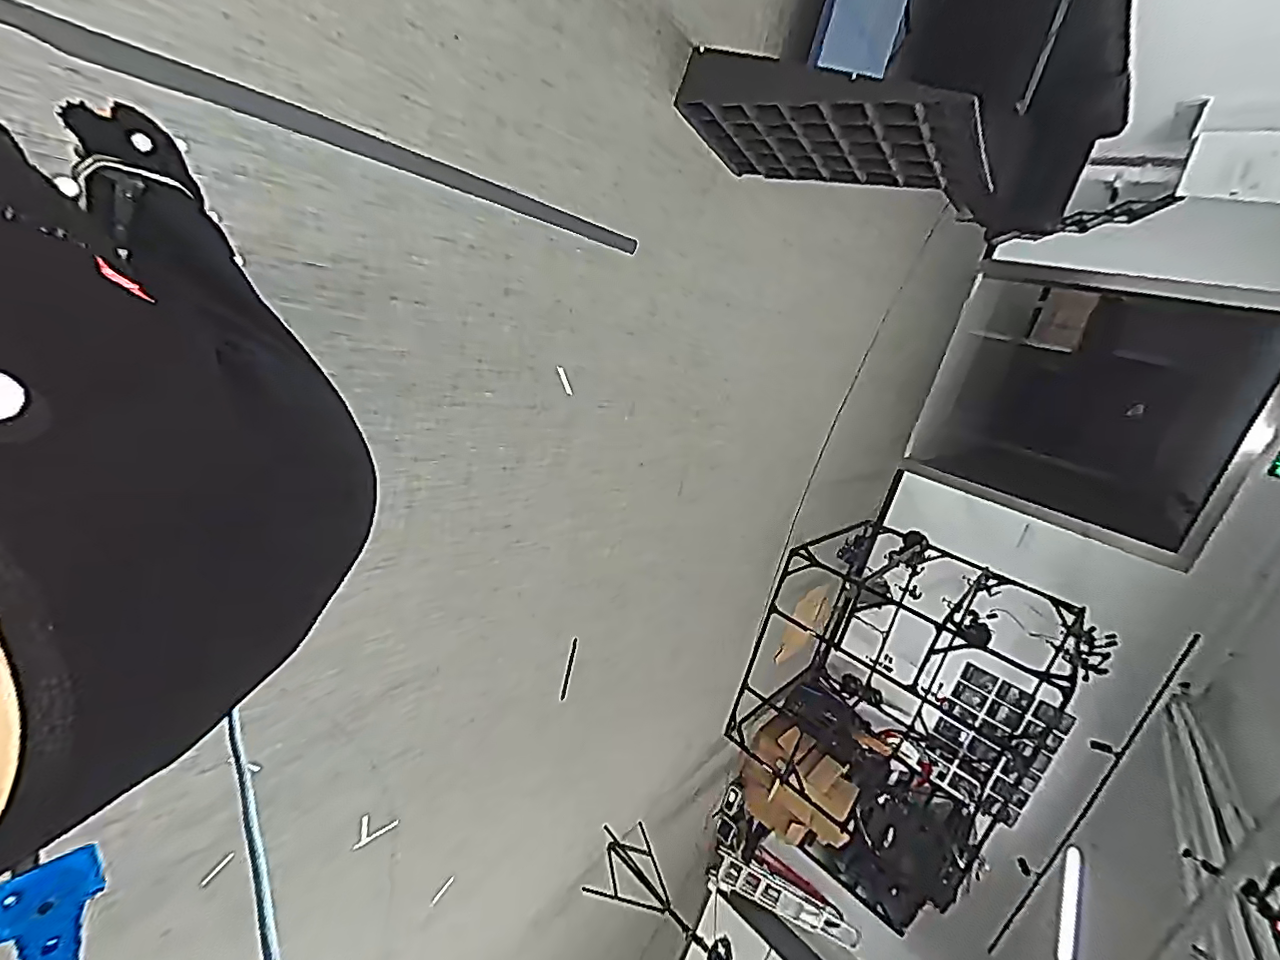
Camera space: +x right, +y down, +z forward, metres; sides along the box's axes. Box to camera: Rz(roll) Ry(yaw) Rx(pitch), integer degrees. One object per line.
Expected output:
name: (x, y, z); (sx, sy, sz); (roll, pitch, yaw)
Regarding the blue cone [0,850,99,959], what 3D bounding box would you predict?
blue cone: (-1.386, 1.109, 1.270); (0.192, 0.380, 0.193); (-12, 122, -49)
